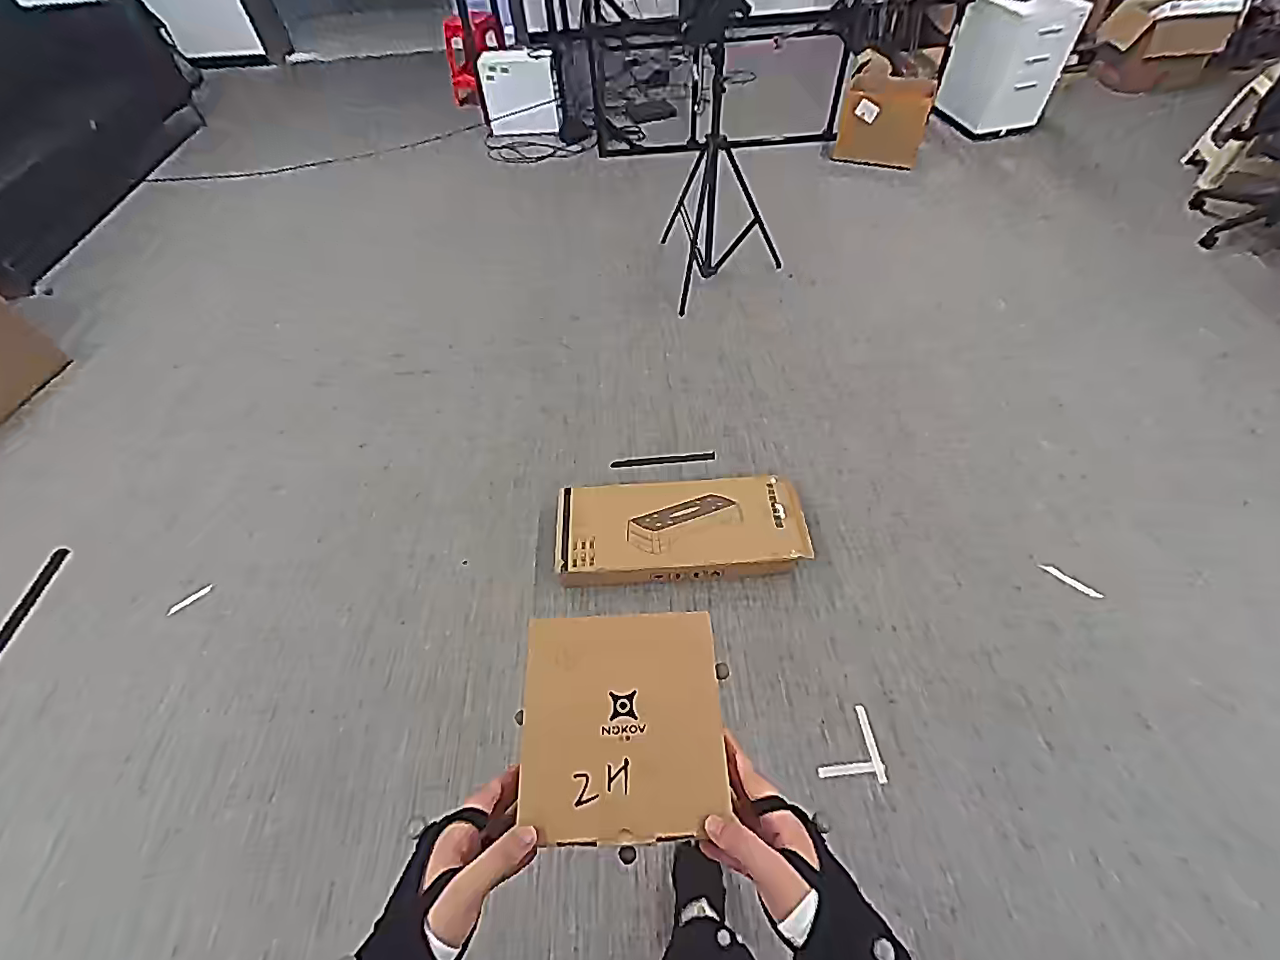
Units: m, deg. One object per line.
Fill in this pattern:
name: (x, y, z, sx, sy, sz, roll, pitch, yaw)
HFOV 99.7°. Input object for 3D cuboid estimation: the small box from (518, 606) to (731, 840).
small box: (-0.014, 0.237, 0.520, 0.168, 0.176, 0.179, -3, 56, -1)
